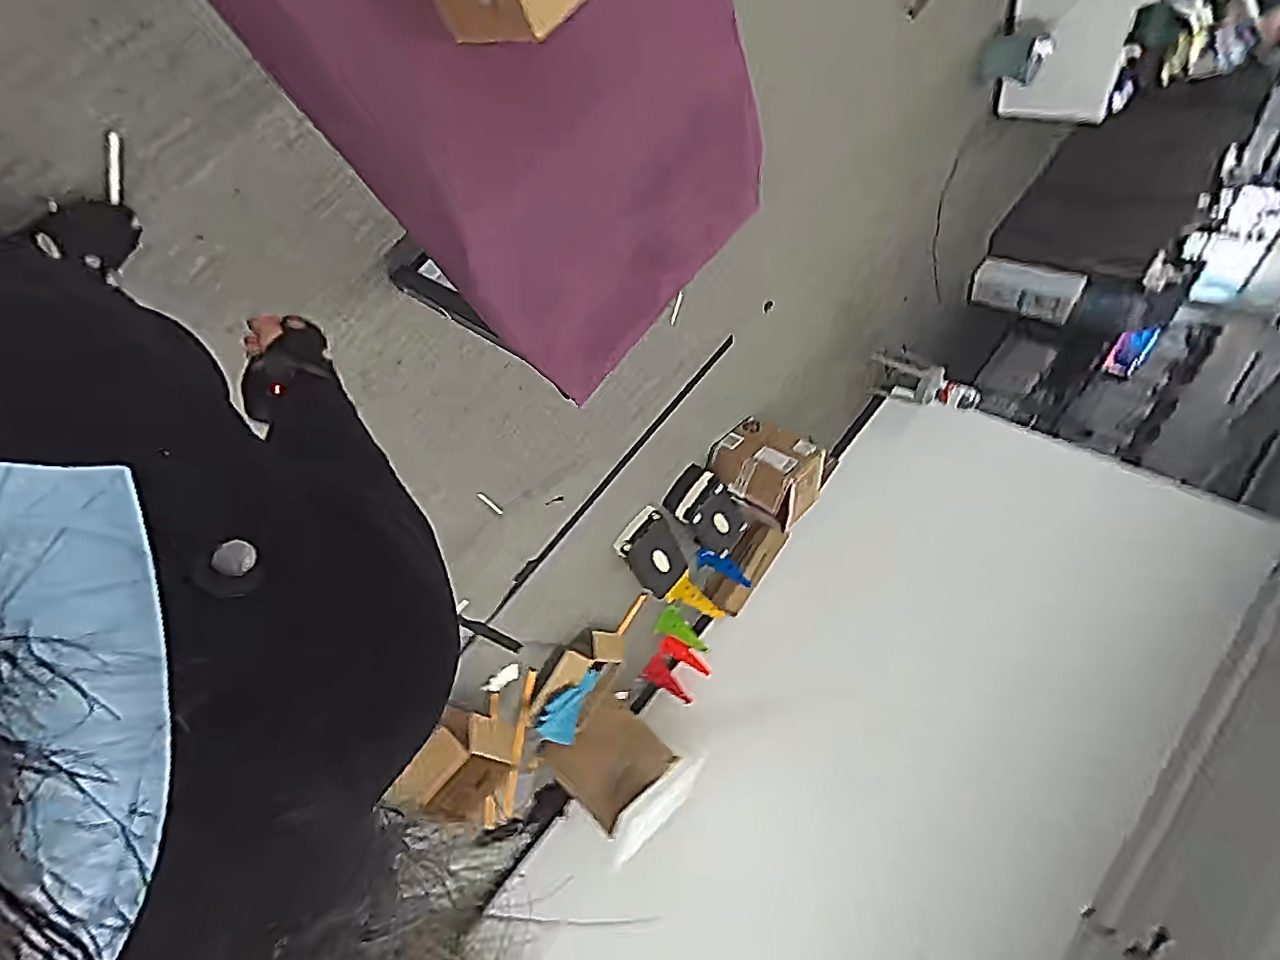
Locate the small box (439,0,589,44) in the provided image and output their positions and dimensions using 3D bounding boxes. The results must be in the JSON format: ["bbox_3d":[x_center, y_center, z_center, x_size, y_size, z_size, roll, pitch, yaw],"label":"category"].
[{"bbox_3d":[-0.134,-0.579,0.536,0.168,0.176,0.179,-51,145,-10],"label":"small box"}]
